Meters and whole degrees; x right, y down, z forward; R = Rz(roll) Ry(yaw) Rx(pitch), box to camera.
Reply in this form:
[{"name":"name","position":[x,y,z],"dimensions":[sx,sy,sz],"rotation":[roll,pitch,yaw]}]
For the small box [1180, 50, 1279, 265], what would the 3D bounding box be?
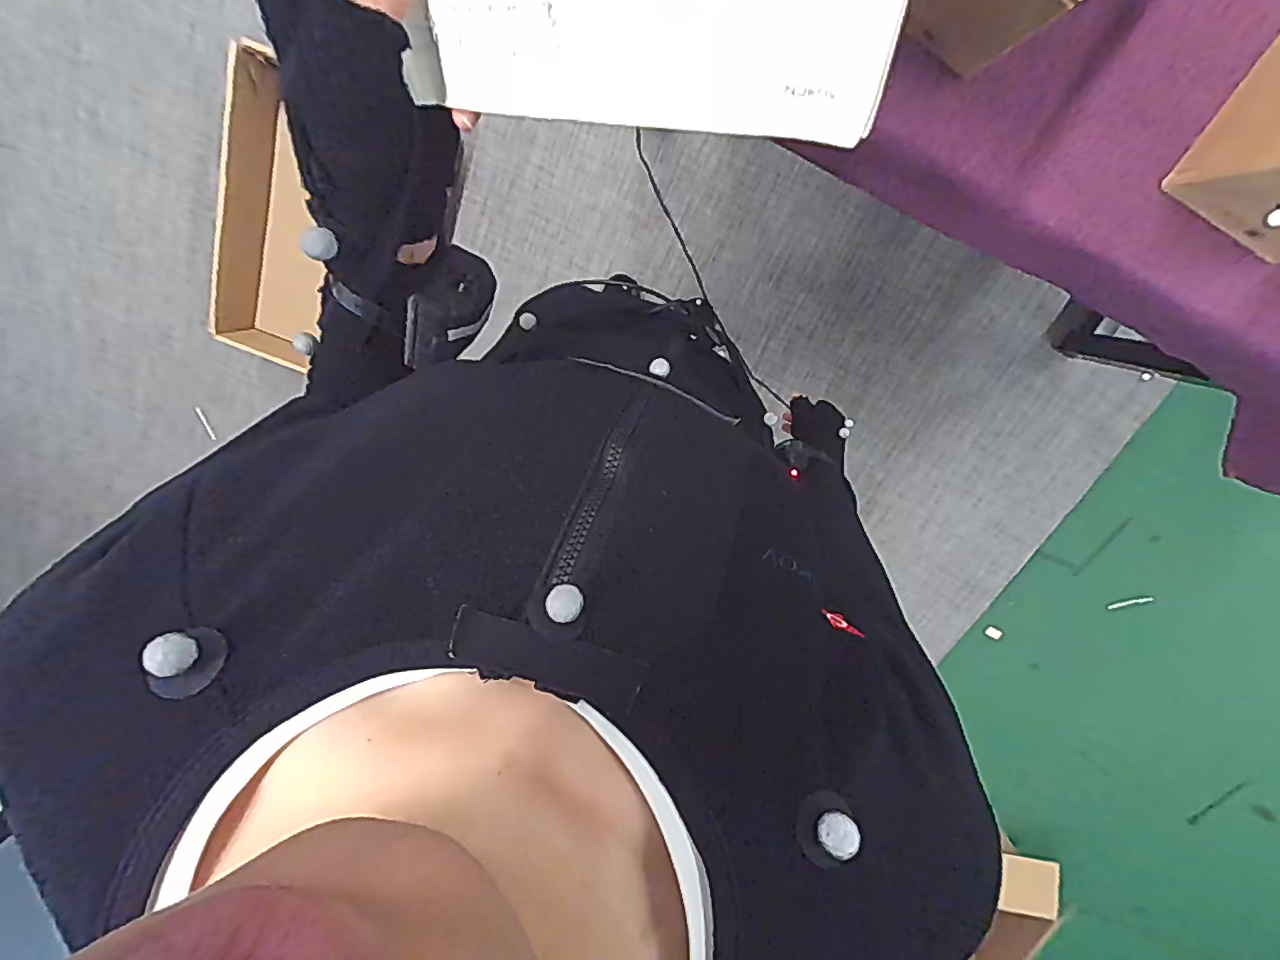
[{"name":"small box","position":[0.662,-0.310,0.488],"dimensions":[0.168,0.176,0.179],"rotation":[29,111,-7]}]
